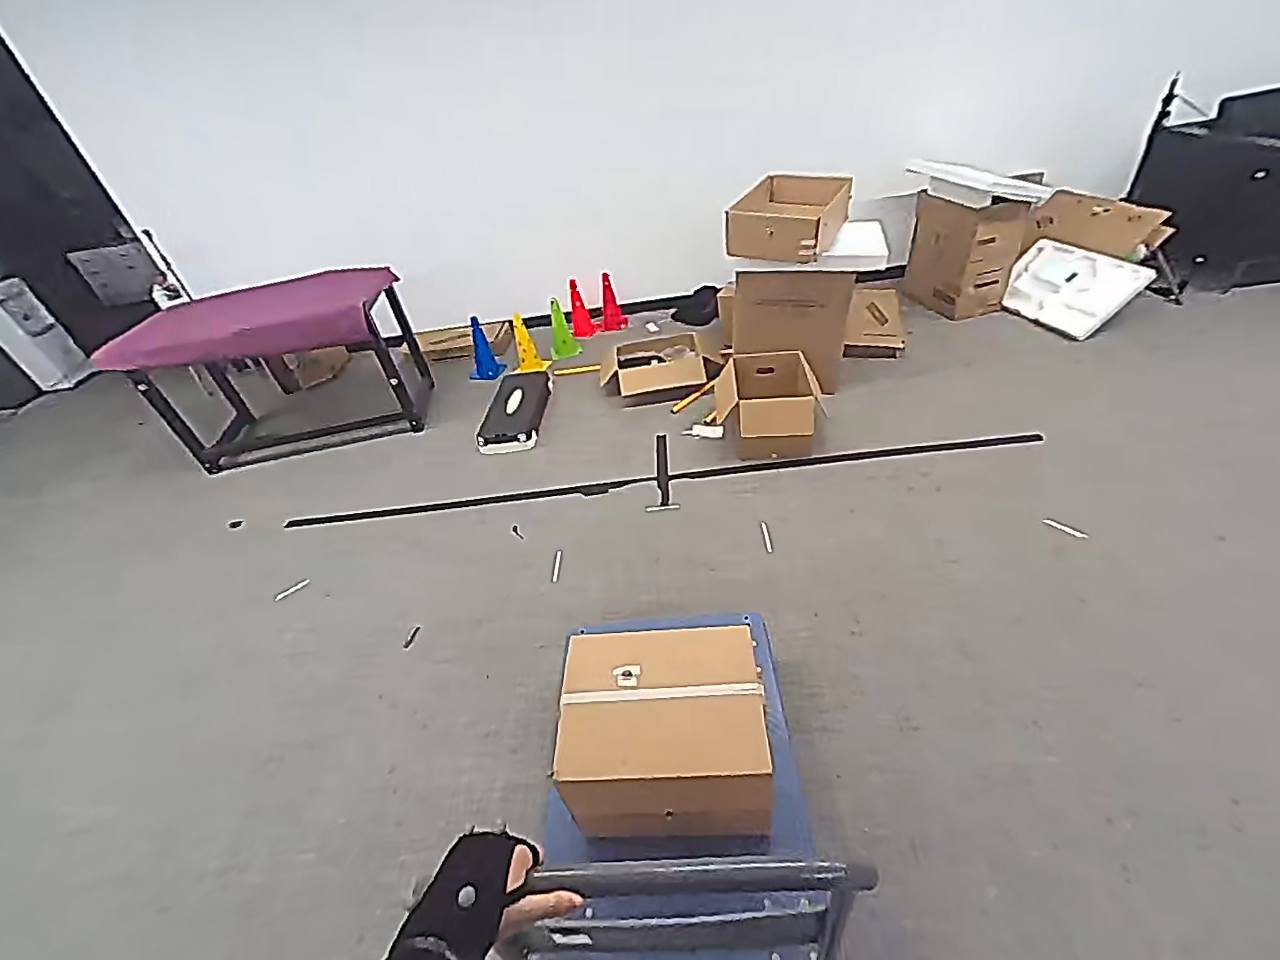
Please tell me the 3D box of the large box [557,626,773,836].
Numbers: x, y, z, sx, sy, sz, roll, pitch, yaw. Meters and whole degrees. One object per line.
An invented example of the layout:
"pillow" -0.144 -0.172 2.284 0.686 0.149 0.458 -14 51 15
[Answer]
"large box" 0.064 0.557 1.196 0.408 0.320 0.320 -7 38 6
